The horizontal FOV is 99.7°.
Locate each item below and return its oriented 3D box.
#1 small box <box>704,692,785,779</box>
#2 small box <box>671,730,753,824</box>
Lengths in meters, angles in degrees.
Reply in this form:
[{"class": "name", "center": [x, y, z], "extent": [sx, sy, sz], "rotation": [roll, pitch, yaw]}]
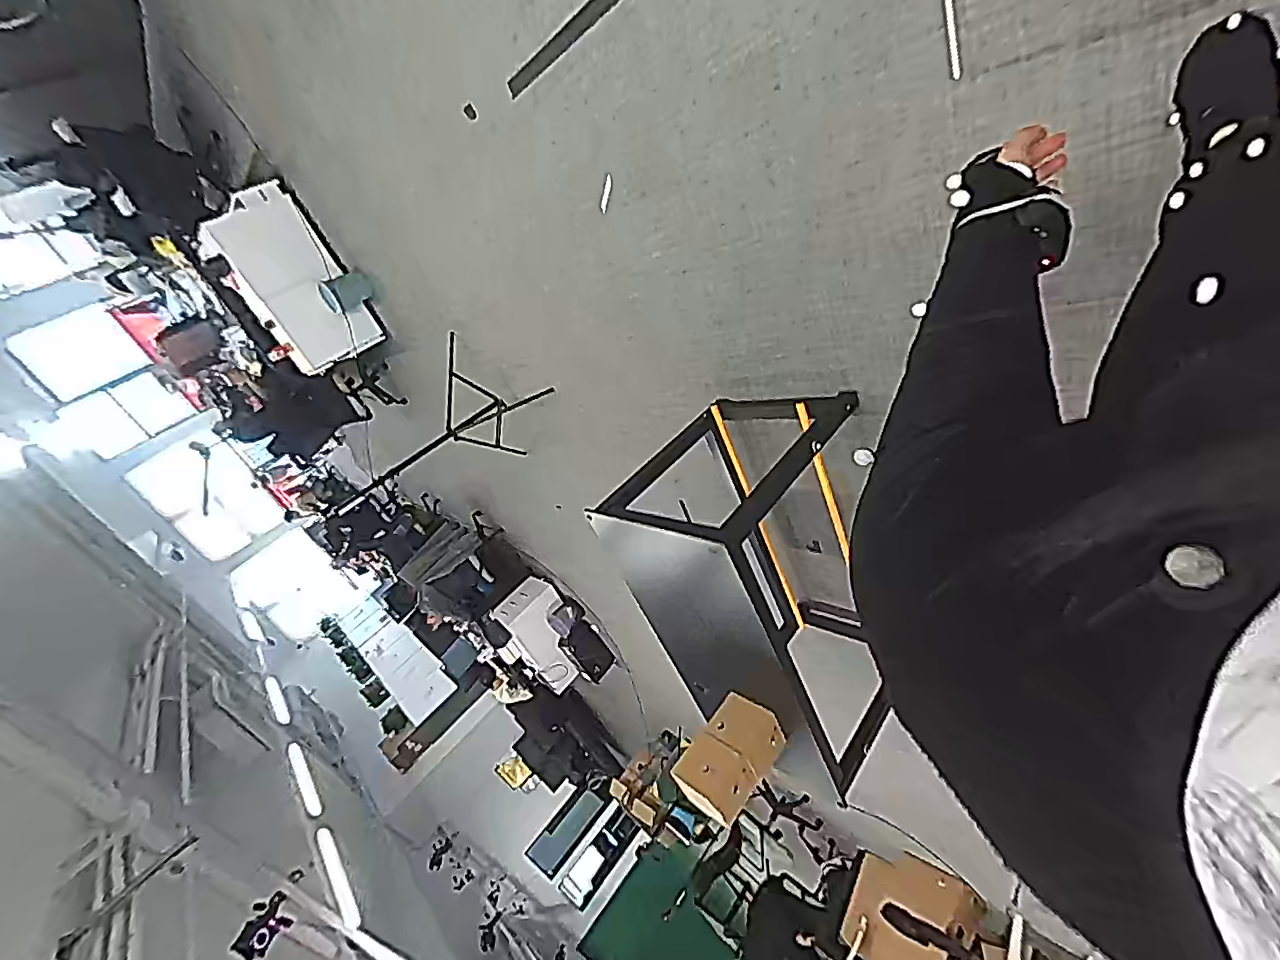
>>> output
[{"class": "small box", "center": [0.349, 0.838, 1.794], "extent": [0.179, 0.176, 0.168], "rotation": [10, 135, 48]}, {"class": "small box", "center": [0.239, 0.937, 1.724], "extent": [0.179, 0.176, 0.168], "rotation": [6, 131, 50]}]
